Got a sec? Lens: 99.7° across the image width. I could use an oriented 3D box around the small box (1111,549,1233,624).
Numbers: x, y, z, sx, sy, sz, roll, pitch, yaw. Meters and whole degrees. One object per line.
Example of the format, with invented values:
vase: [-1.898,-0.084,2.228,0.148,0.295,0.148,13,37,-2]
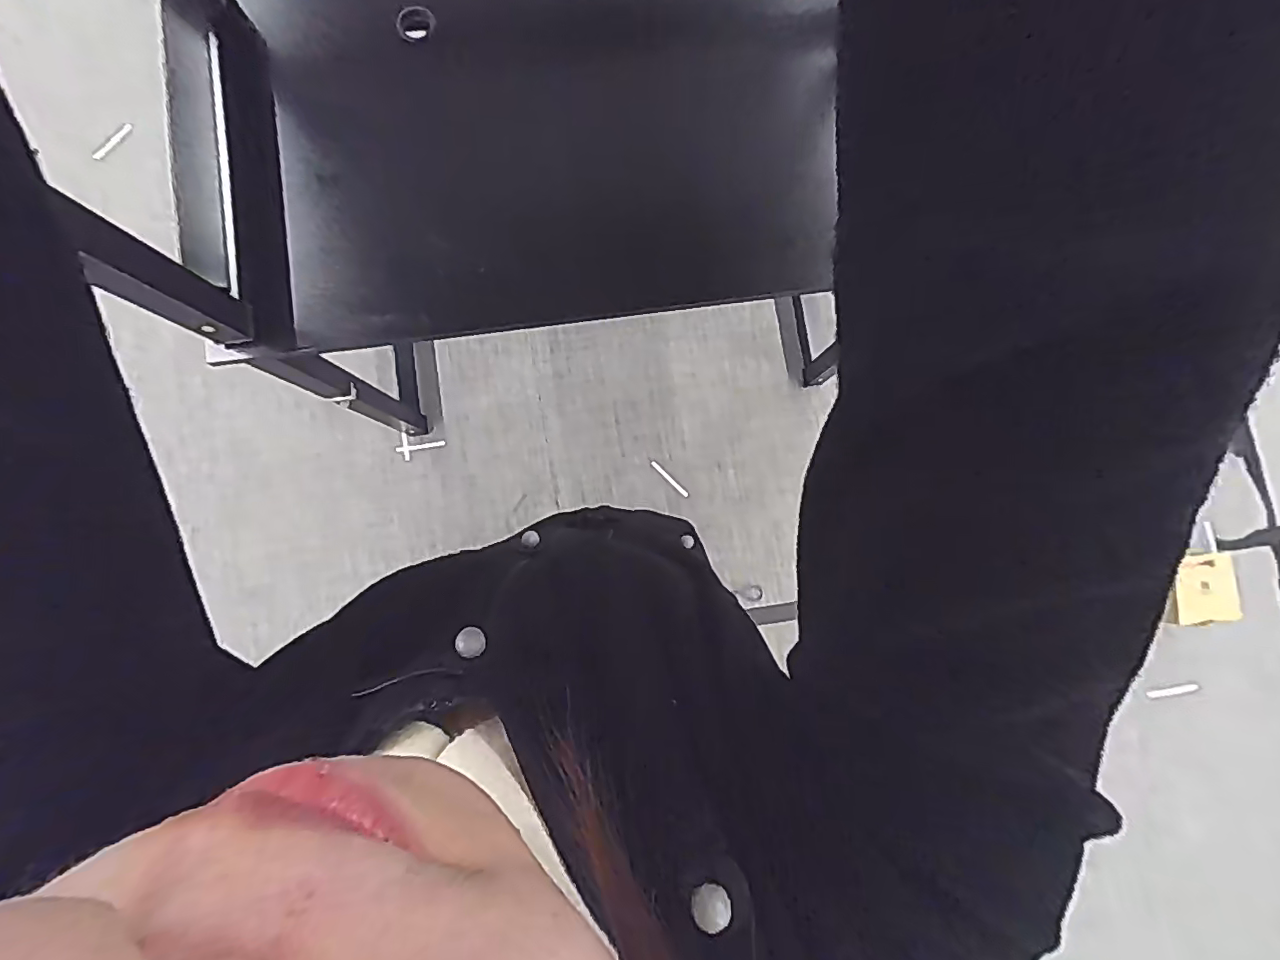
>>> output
small box: [1.444,0.286,1.476,0.168,0.176,0.179,-3,86,-3]
